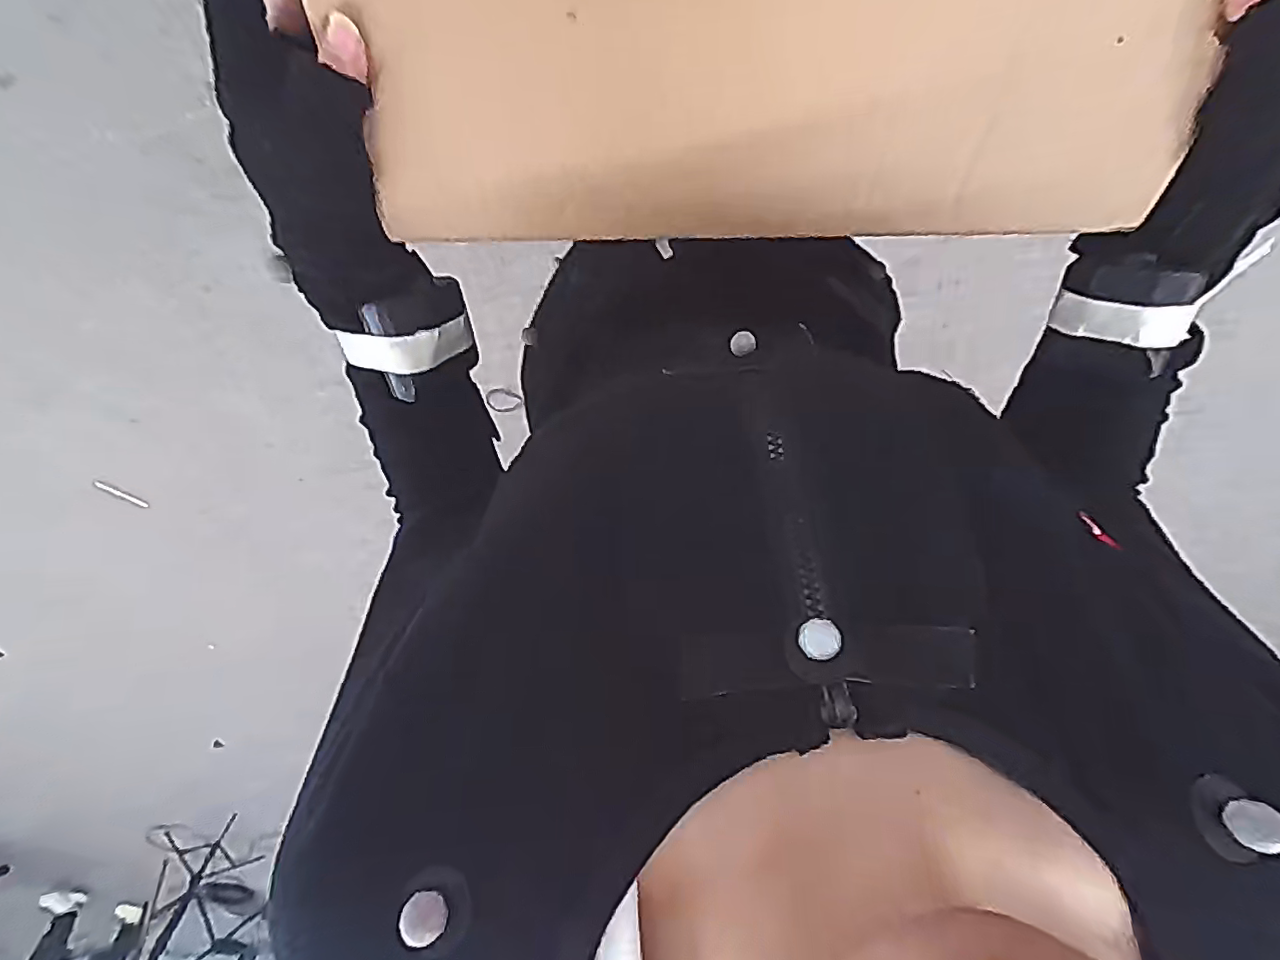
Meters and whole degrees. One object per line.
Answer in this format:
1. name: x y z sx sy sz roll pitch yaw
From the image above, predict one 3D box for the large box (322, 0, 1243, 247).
1. large box: 0.058 -0.350 0.304 0.408 0.320 0.320 0 135 2
